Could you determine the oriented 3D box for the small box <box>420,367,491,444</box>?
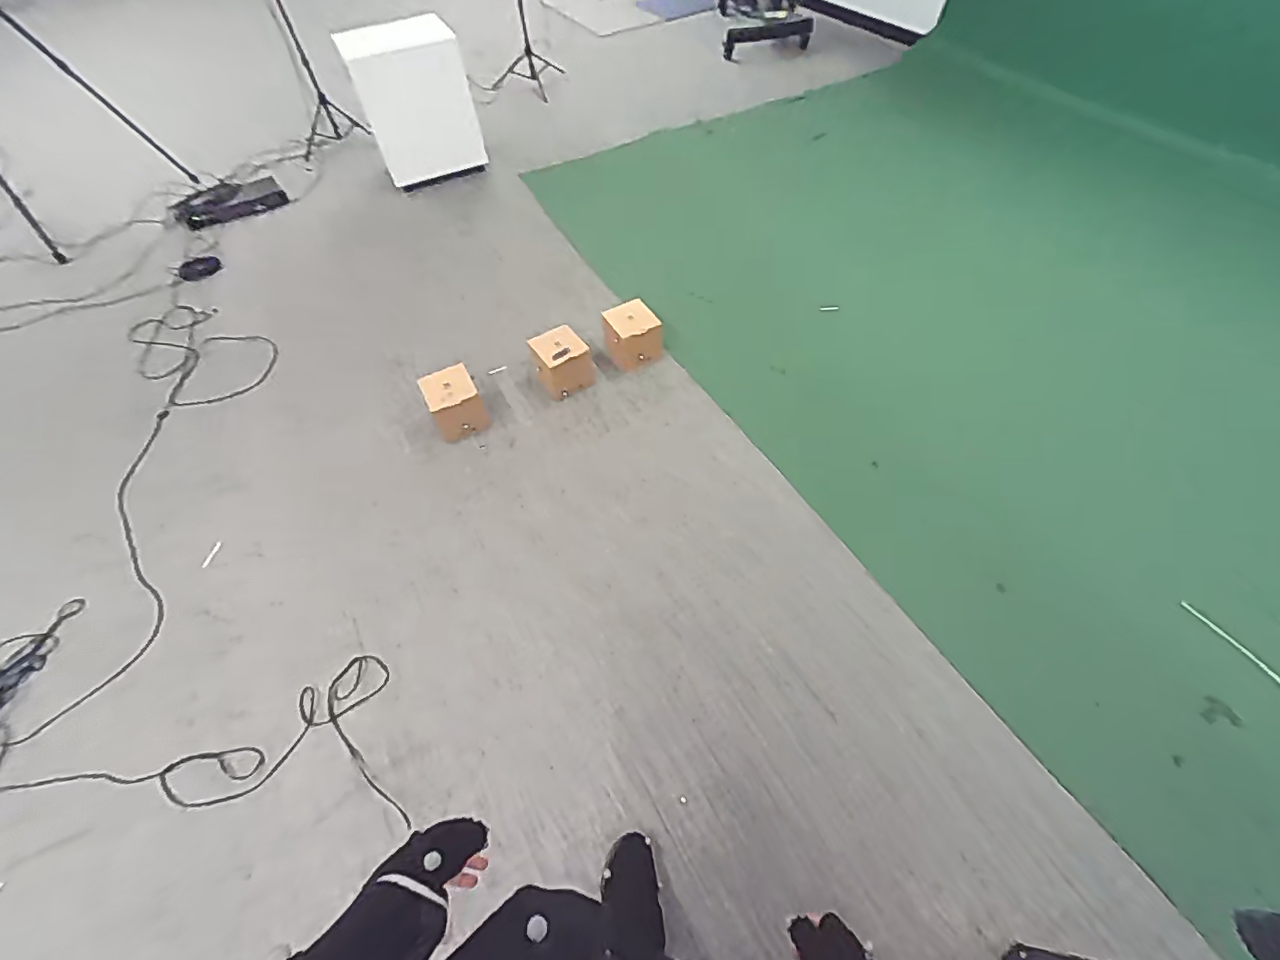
[{"bbox_3d":[-0.639,-0.257,1.884,0.168,0.176,0.179,-25,58,-14],"label":"small box"}]

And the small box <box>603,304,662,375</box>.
[{"bbox_3d":[-0.028,-0.535,2.065,0.168,0.176,0.179,-26,58,-15],"label":"small box"}]

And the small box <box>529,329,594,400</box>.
[{"bbox_3d":[-0.285,-0.417,1.988,0.168,0.176,0.179,-29,58,-18],"label":"small box"}]
